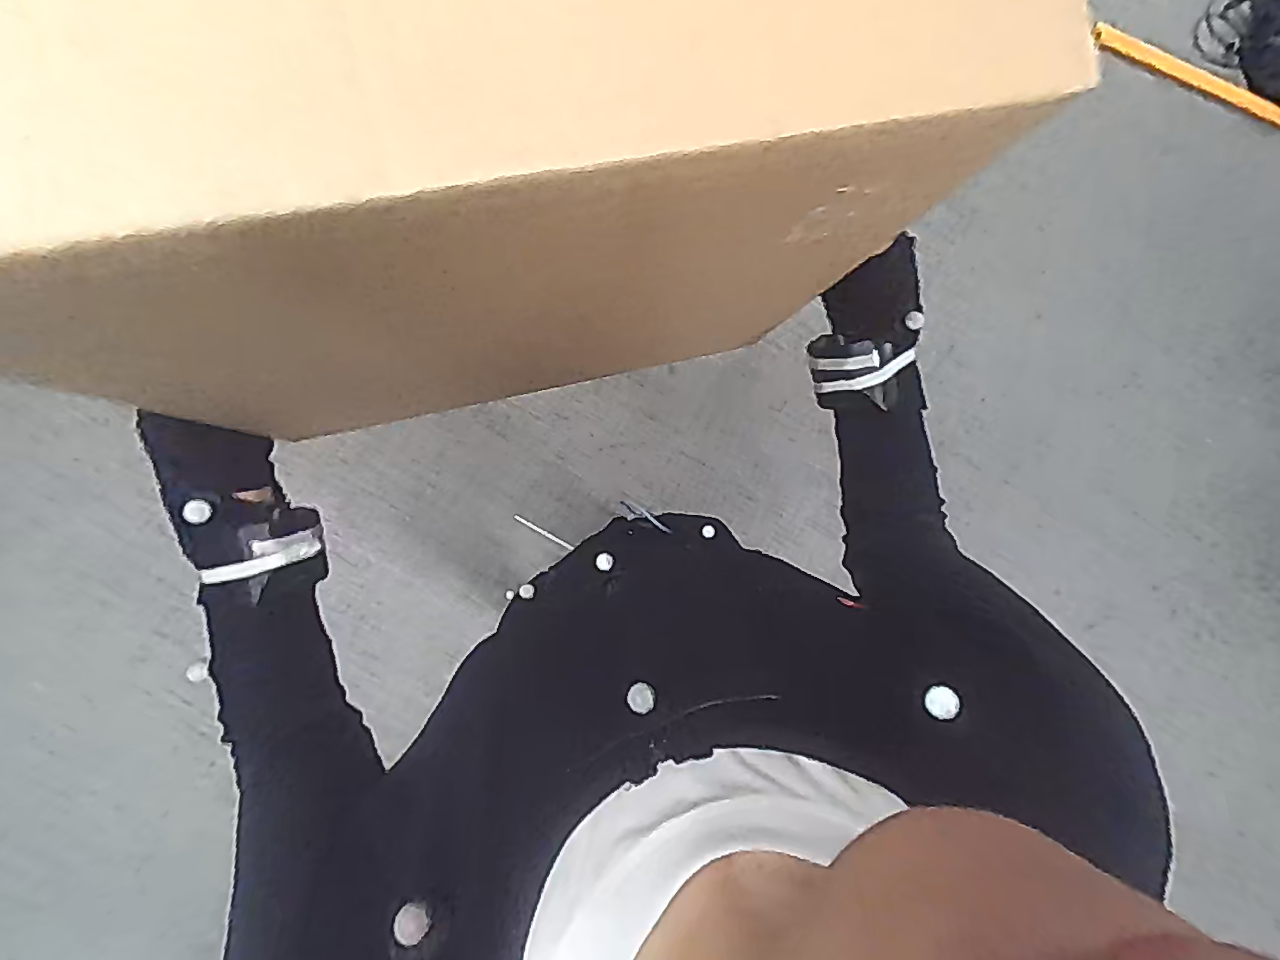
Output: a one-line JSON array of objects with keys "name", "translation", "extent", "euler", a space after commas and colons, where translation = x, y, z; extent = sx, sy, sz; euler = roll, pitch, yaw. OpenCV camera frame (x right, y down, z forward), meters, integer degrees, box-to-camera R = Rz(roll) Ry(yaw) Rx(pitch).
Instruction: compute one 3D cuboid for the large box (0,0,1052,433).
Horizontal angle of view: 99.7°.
[{"name": "large box", "translation": [-0.099, -0.239, 0.312], "extent": [0.408, 0.320, 0.320], "euler": [-15, 91, -11]}]
